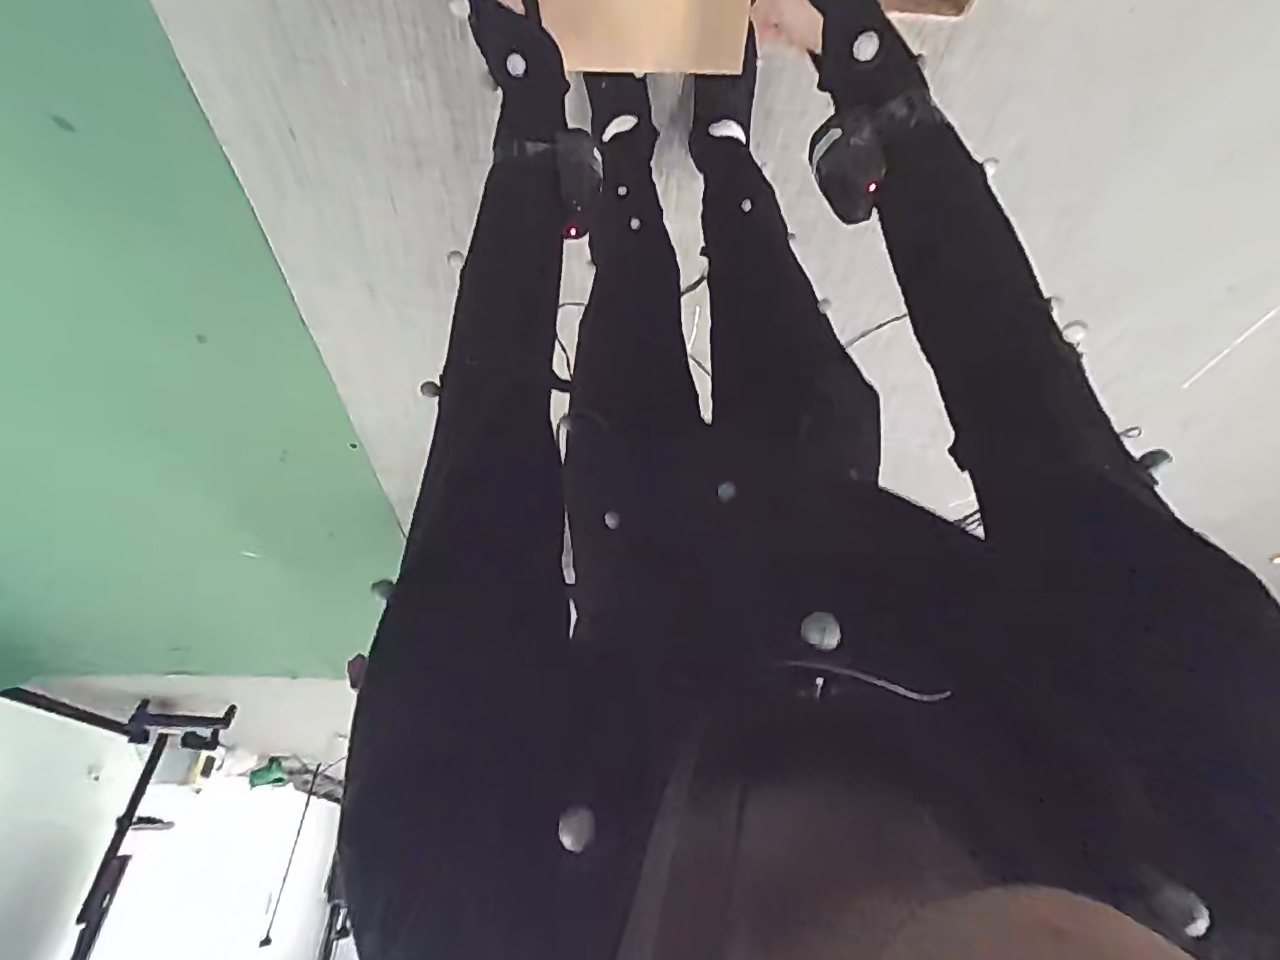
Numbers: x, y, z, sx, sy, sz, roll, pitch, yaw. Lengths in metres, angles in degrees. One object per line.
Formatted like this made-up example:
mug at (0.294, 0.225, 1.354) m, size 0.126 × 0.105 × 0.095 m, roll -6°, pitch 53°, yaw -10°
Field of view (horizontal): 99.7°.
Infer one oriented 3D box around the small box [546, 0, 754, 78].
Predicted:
small box at (0.008, -0.480, 0.474) m, size 0.179 × 0.176 × 0.168 m, roll -1°, pitch 143°, yaw -2°
